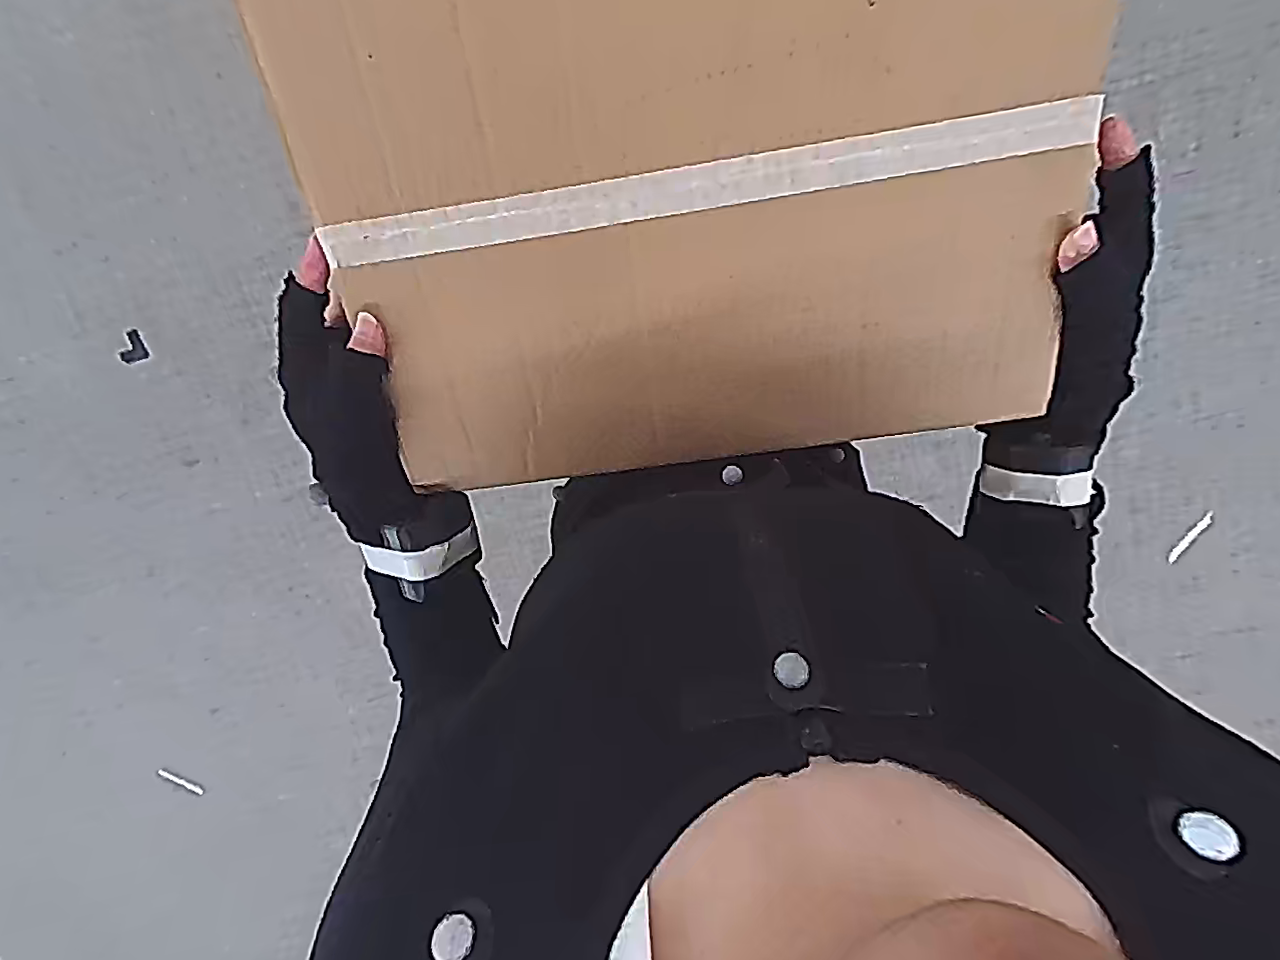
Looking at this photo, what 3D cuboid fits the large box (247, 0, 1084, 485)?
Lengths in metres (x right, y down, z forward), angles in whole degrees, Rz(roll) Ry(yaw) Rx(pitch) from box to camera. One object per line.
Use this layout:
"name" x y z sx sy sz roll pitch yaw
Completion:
"large box" 0.025 -0.225 0.428 0.408 0.320 0.320 -7 115 4
